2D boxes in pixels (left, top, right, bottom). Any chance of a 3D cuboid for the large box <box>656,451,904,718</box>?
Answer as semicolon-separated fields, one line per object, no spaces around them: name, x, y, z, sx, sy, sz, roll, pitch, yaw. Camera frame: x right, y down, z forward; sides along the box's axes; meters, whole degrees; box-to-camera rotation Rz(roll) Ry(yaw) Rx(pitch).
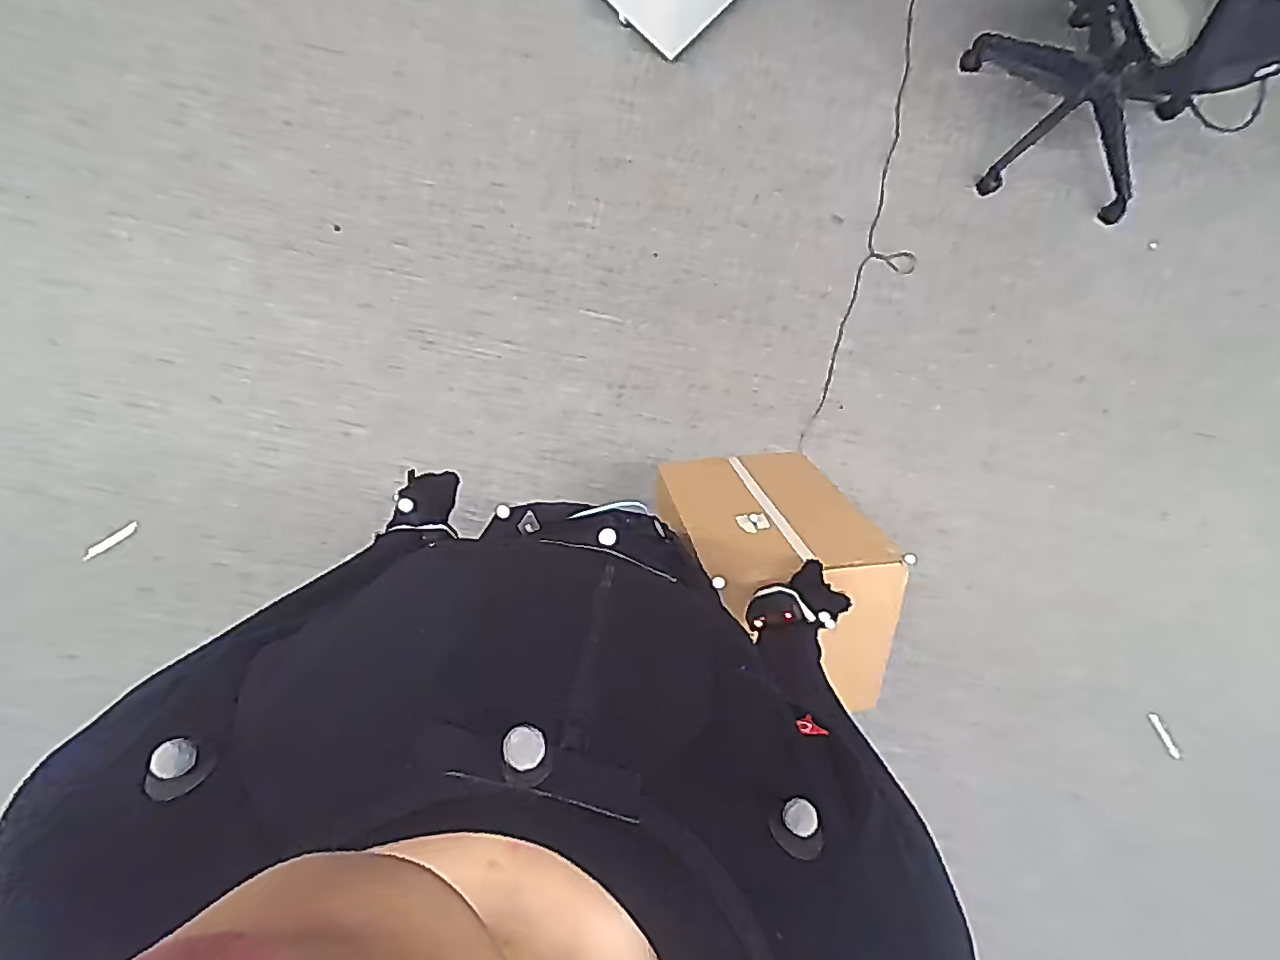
large box;0.218;0.172;1.036;0.320;0.408;0.320;-5;119;-7
